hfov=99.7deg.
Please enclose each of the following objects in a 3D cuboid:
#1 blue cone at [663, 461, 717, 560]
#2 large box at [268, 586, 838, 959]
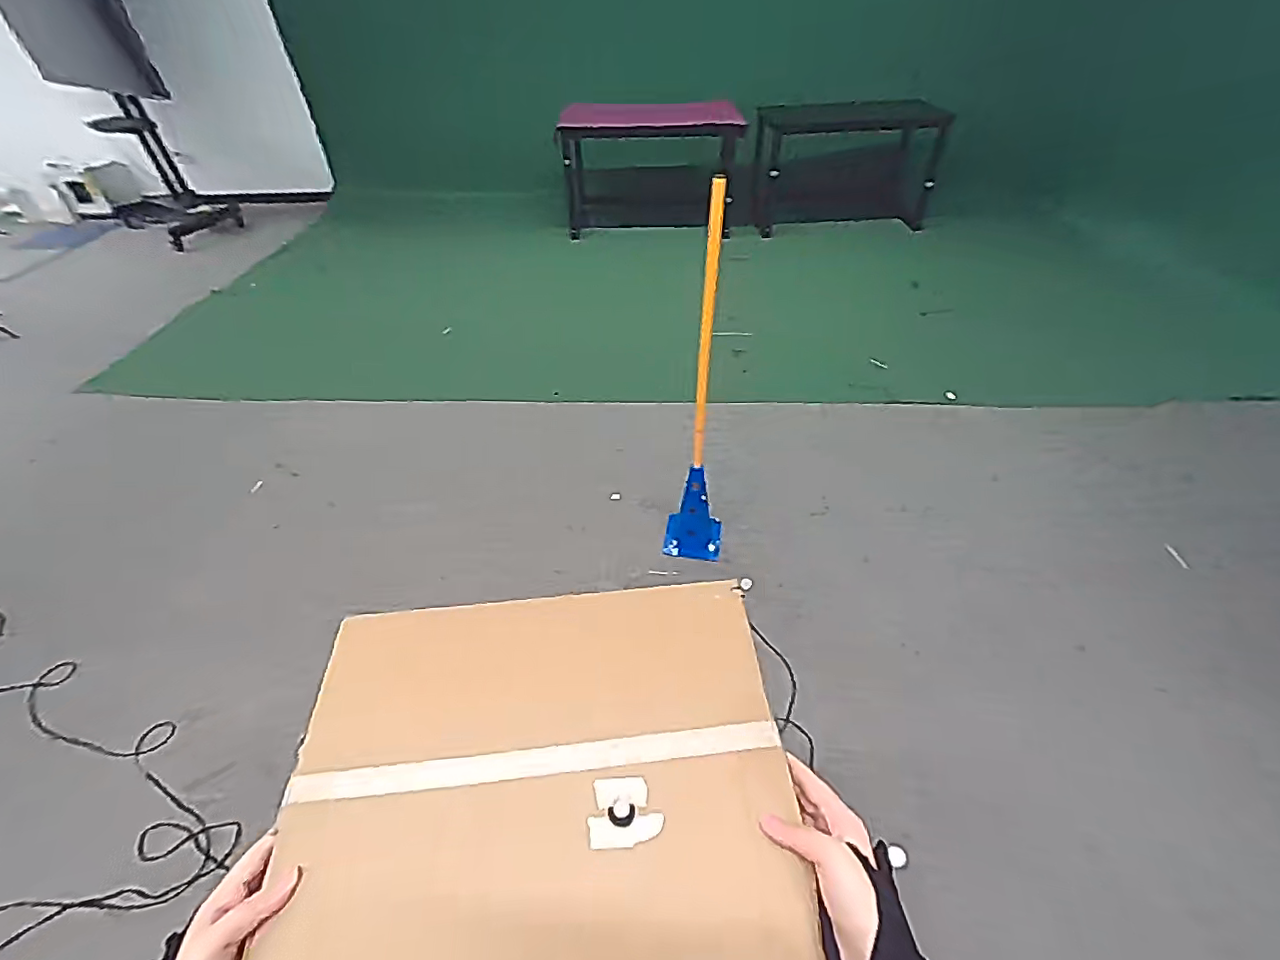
[{"bbox_3d":[0.180,0.093,1.876,0.193,0.380,0.192,7,43,9],"label":"blue cone"},{"bbox_3d":[-0.073,0.341,0.569,0.408,0.320,0.320,-4,48,-4],"label":"large box"}]
